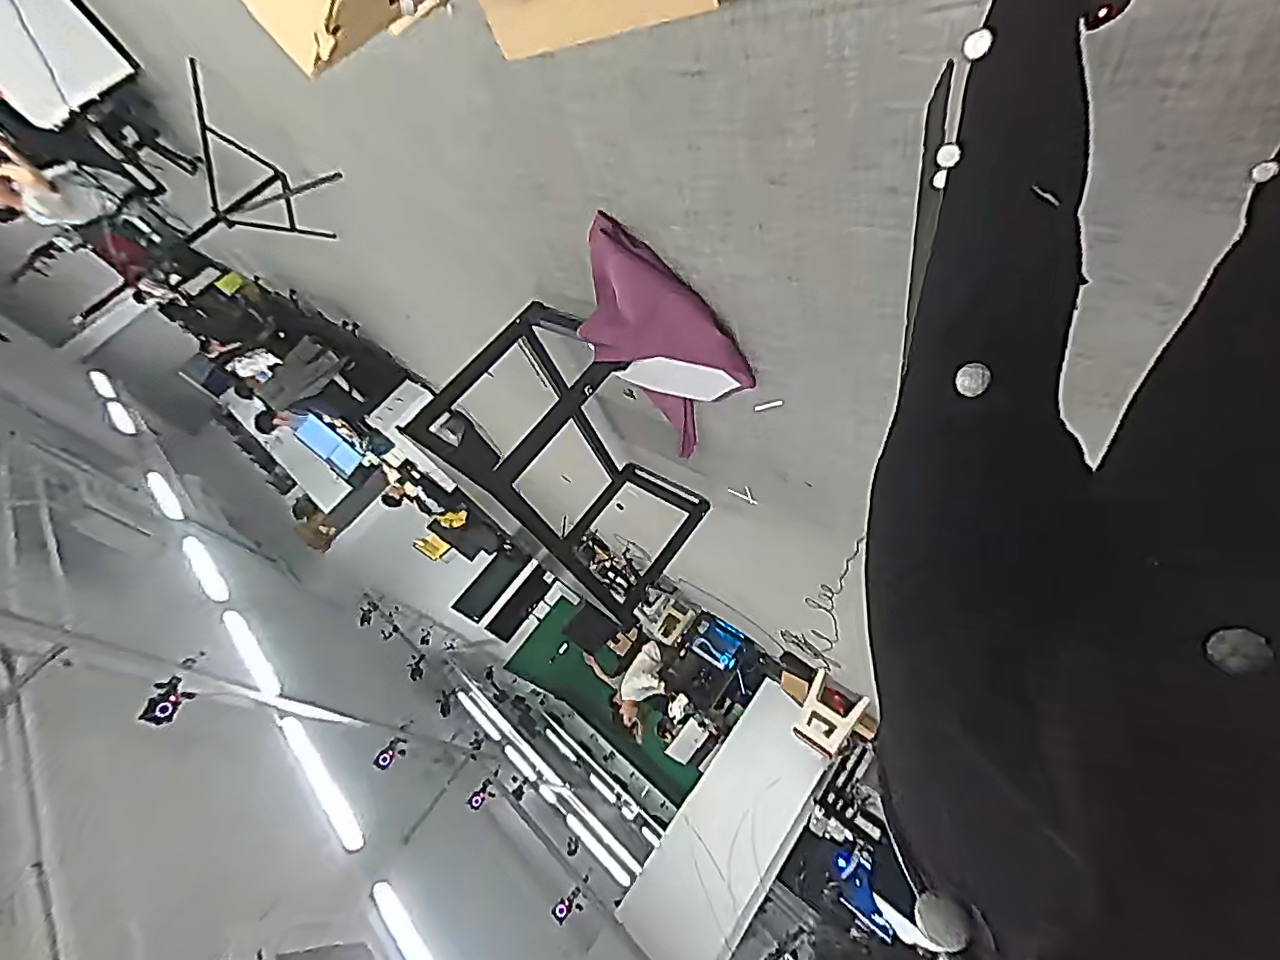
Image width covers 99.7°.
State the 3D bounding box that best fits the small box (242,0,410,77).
[{"bbox_3d":[-0.269,-0.488,0.435,0.168,0.176,0.179,18,154,51],"label":"small box"}]

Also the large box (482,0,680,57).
[{"bbox_3d":[-0.021,-0.766,0.611,0.408,0.320,0.320,24,159,39],"label":"large box"}]
